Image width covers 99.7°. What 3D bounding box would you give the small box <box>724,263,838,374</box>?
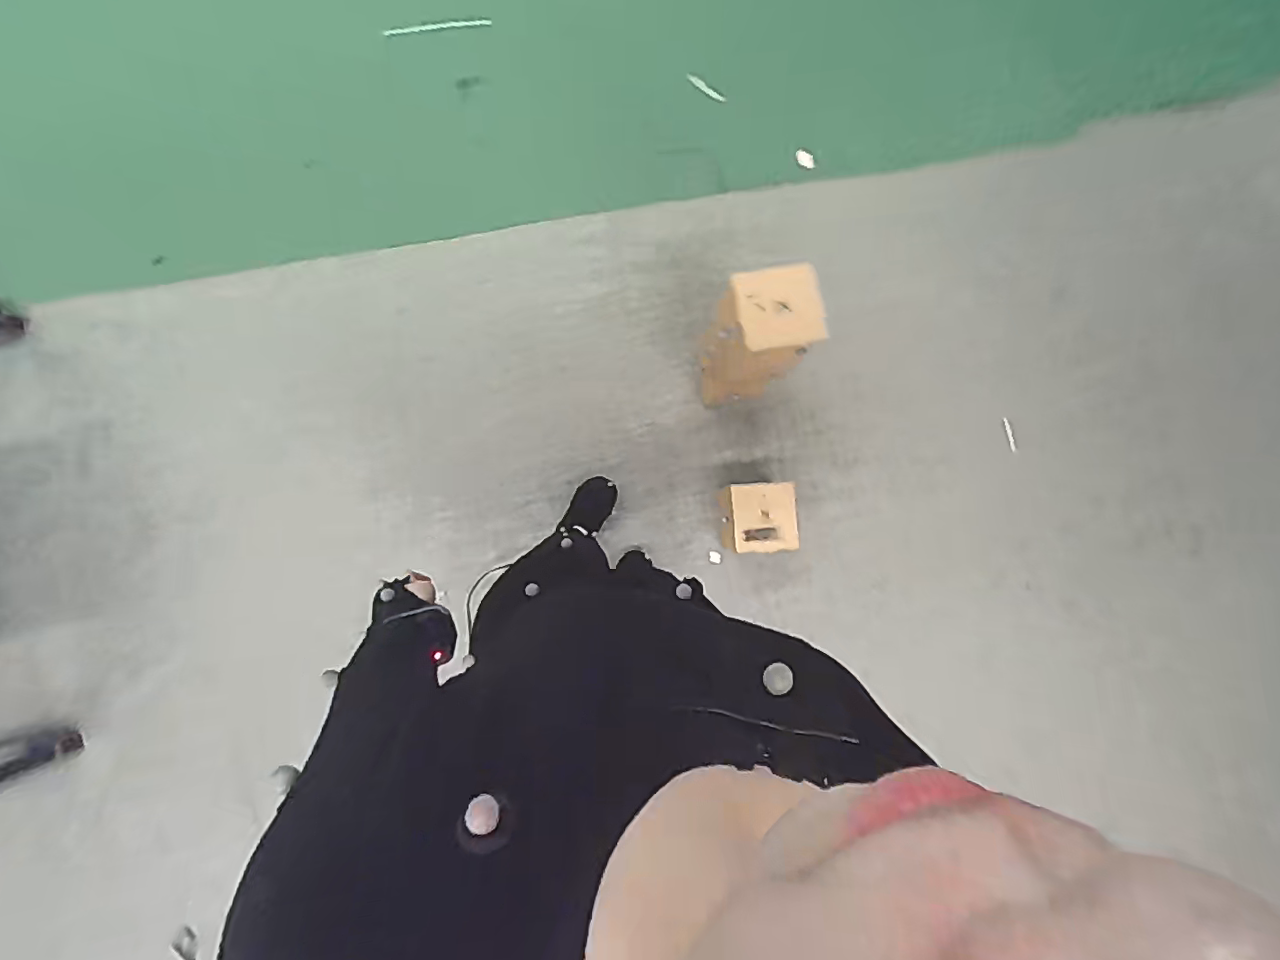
[{"bbox_3d":[0.294,-0.338,1.157,0.179,0.176,0.168,-9,84,-4],"label":"small box"}]
